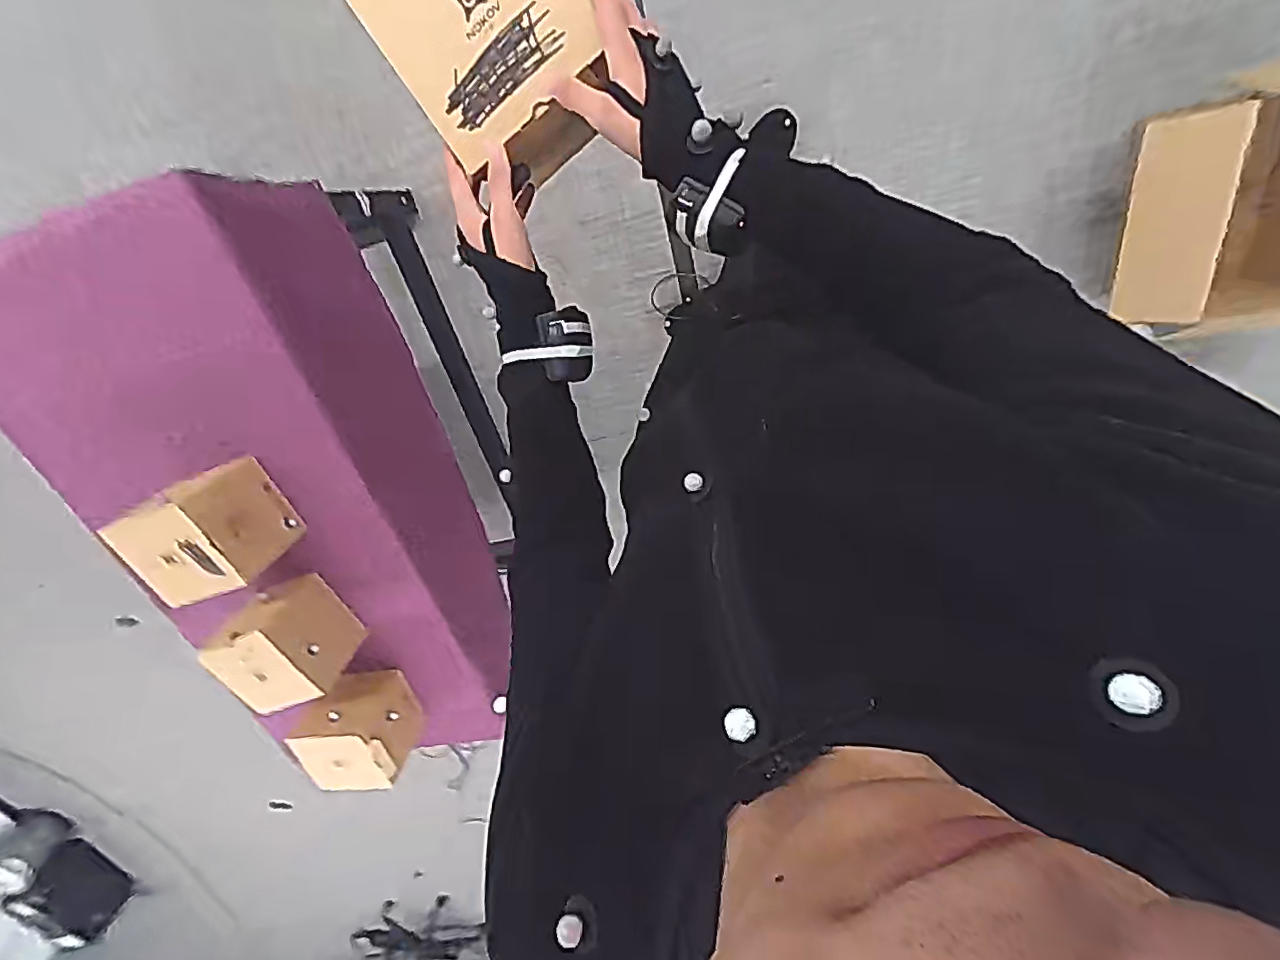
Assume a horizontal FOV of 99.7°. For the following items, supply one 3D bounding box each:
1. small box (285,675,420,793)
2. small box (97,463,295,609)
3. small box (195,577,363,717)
[{"bbox_3d":[-0.602,0.541,1.167,0.179,0.176,0.168,-8,116,9],"label":"small box"},{"bbox_3d":[-0.742,0.091,0.935,0.179,0.176,0.168,-16,116,14],"label":"small box"},{"bbox_3d":[-0.687,0.322,1.054,0.168,0.176,0.179,-21,114,14],"label":"small box"}]
